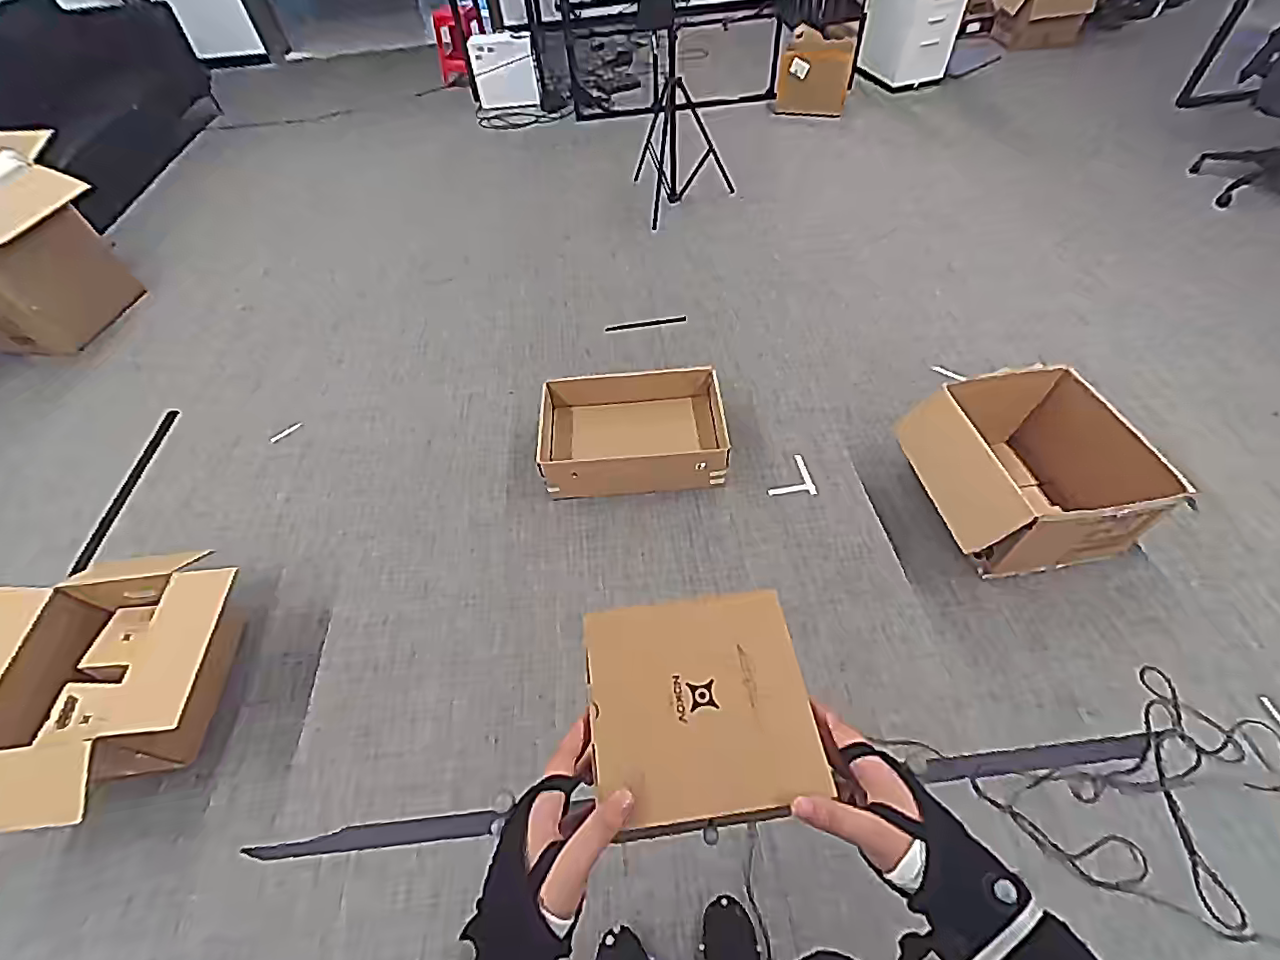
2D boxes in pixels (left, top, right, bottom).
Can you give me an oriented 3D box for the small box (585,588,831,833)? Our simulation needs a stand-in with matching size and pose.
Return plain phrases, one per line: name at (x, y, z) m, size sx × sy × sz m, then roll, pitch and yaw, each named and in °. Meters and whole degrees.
small box at (0.049, 0.220, 0.507) m, size 0.179 × 0.176 × 0.168 m, roll -7°, pitch 56°, yaw -5°
